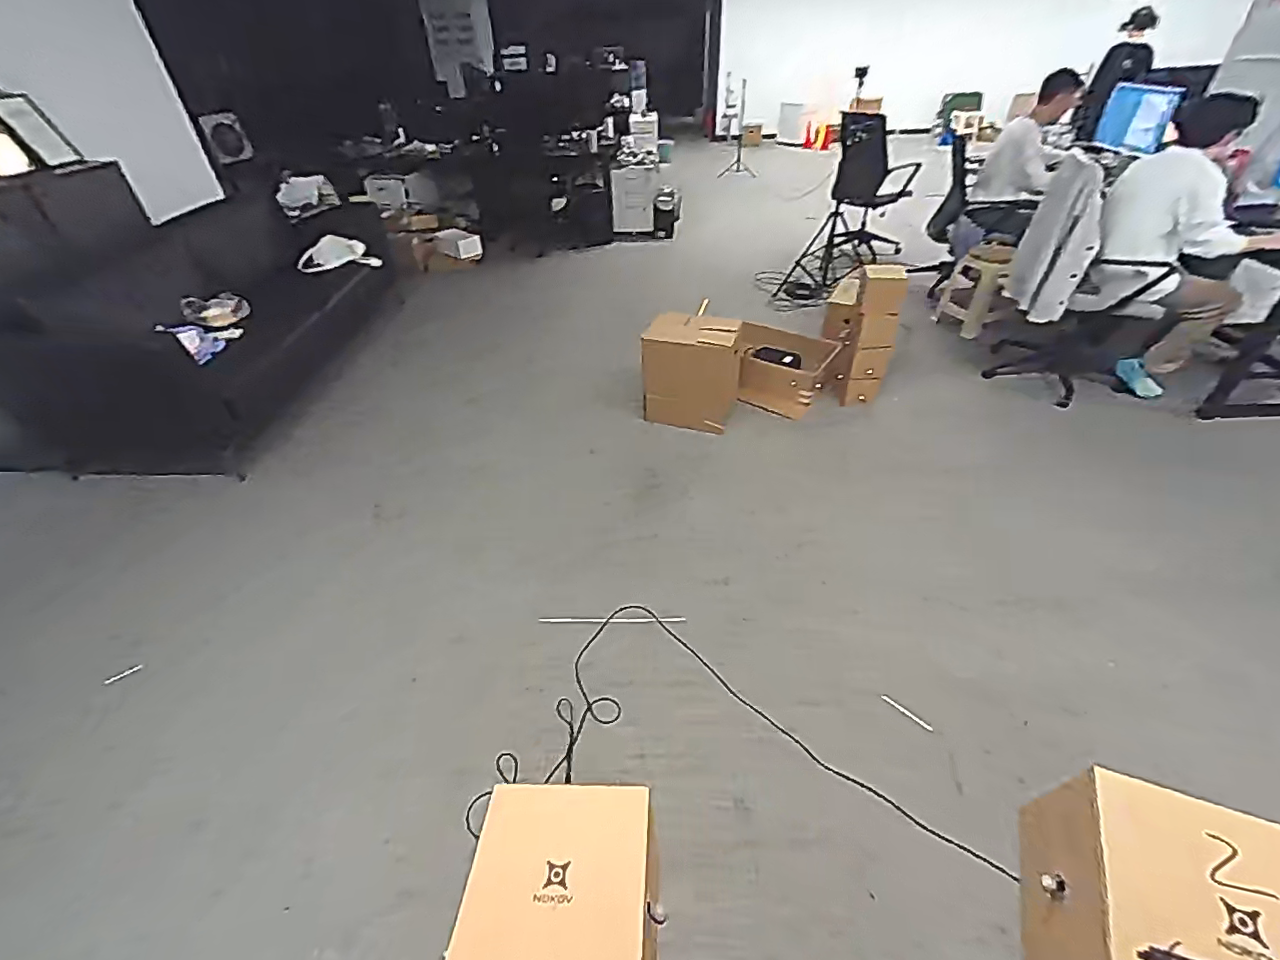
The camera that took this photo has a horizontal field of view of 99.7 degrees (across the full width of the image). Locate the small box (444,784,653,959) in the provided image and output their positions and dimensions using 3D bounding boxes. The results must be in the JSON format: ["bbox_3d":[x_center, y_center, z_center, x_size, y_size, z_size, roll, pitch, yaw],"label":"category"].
[{"bbox_3d":[-0.075,0.438,0.541,0.168,0.176,0.179,-2,32,4],"label":"small box"}]
